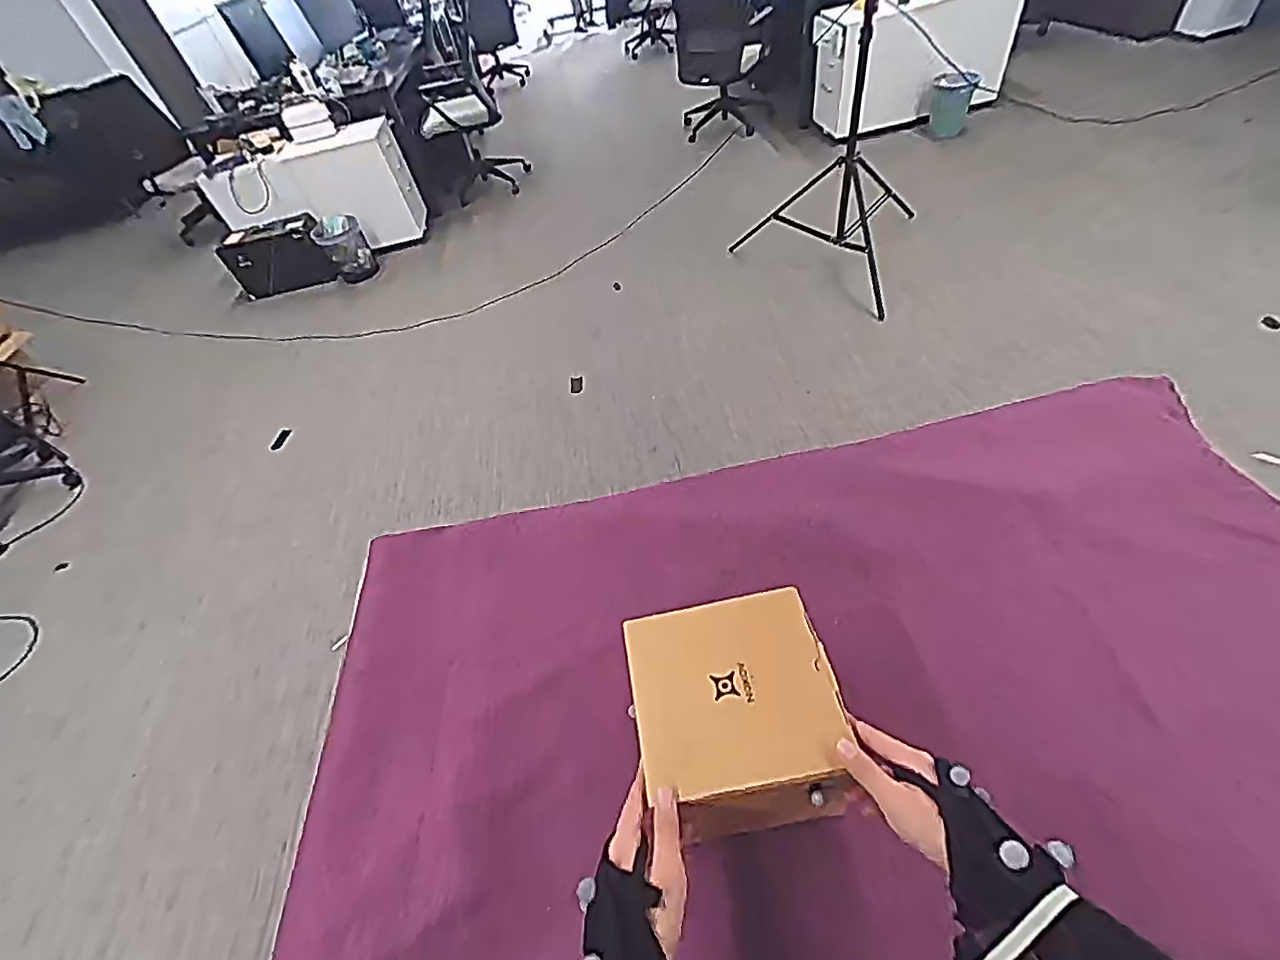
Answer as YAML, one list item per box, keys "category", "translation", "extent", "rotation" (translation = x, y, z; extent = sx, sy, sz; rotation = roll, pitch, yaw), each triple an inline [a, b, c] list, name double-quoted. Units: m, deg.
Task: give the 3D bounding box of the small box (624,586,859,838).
- category: "small box"
  translation: [0.091, 0.234, 0.536]
  extent: [0.179, 0.176, 0.168]
  rotation: [-12, 46, 0]
